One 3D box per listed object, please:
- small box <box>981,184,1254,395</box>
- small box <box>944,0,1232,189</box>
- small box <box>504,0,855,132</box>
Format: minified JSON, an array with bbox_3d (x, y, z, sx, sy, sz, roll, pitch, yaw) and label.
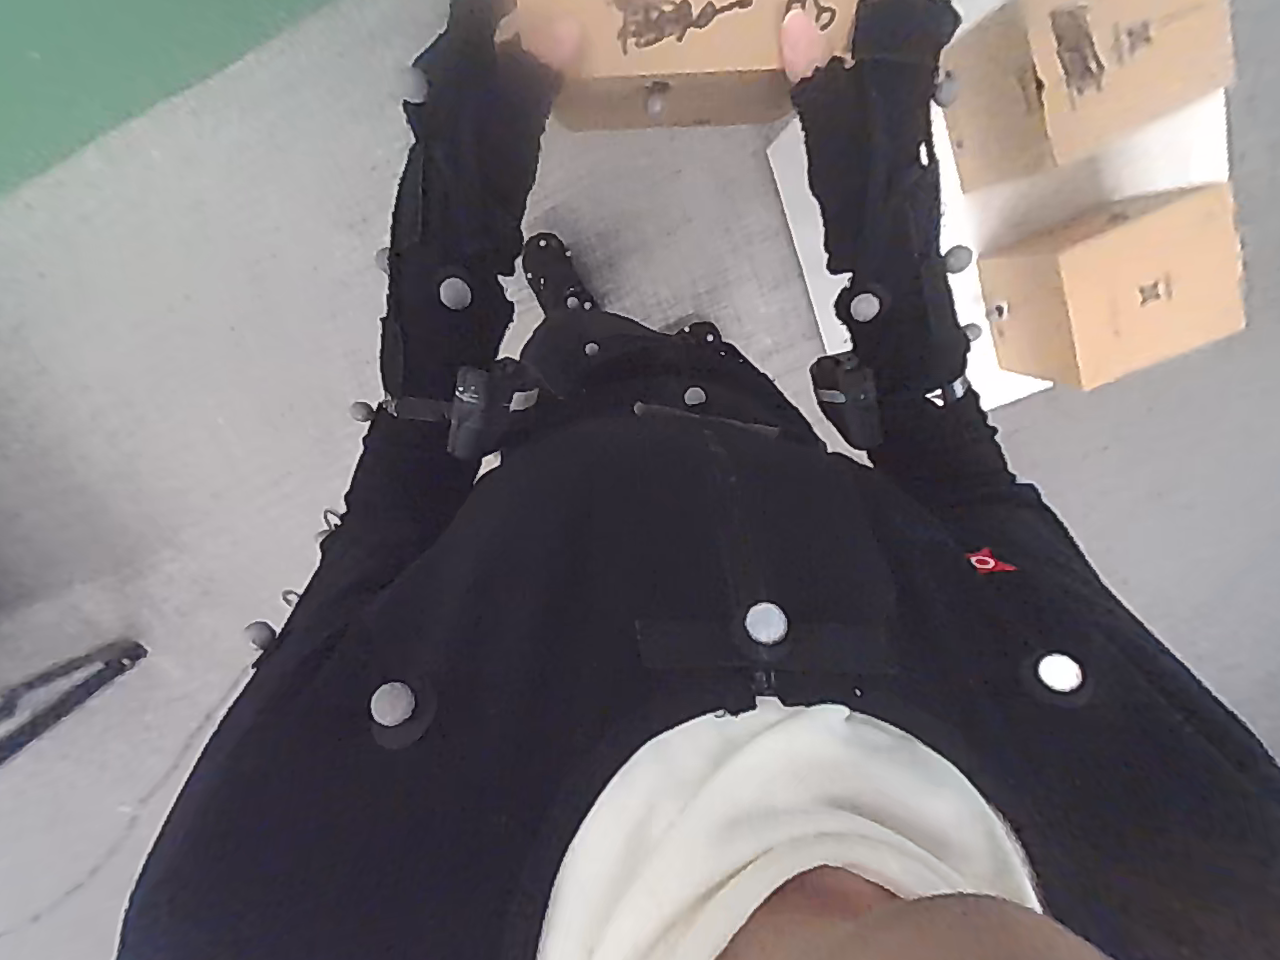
[{"bbox_3d":[0.556,-0.224,0.650,0.179,0.176,0.168,-22,107,11],"label":"small box"},{"bbox_3d":[0.461,-0.444,0.586,0.179,0.176,0.168,-24,108,9],"label":"small box"},{"bbox_3d":[0.013,-0.312,0.297,0.168,0.176,0.179,-3,114,0],"label":"small box"}]
